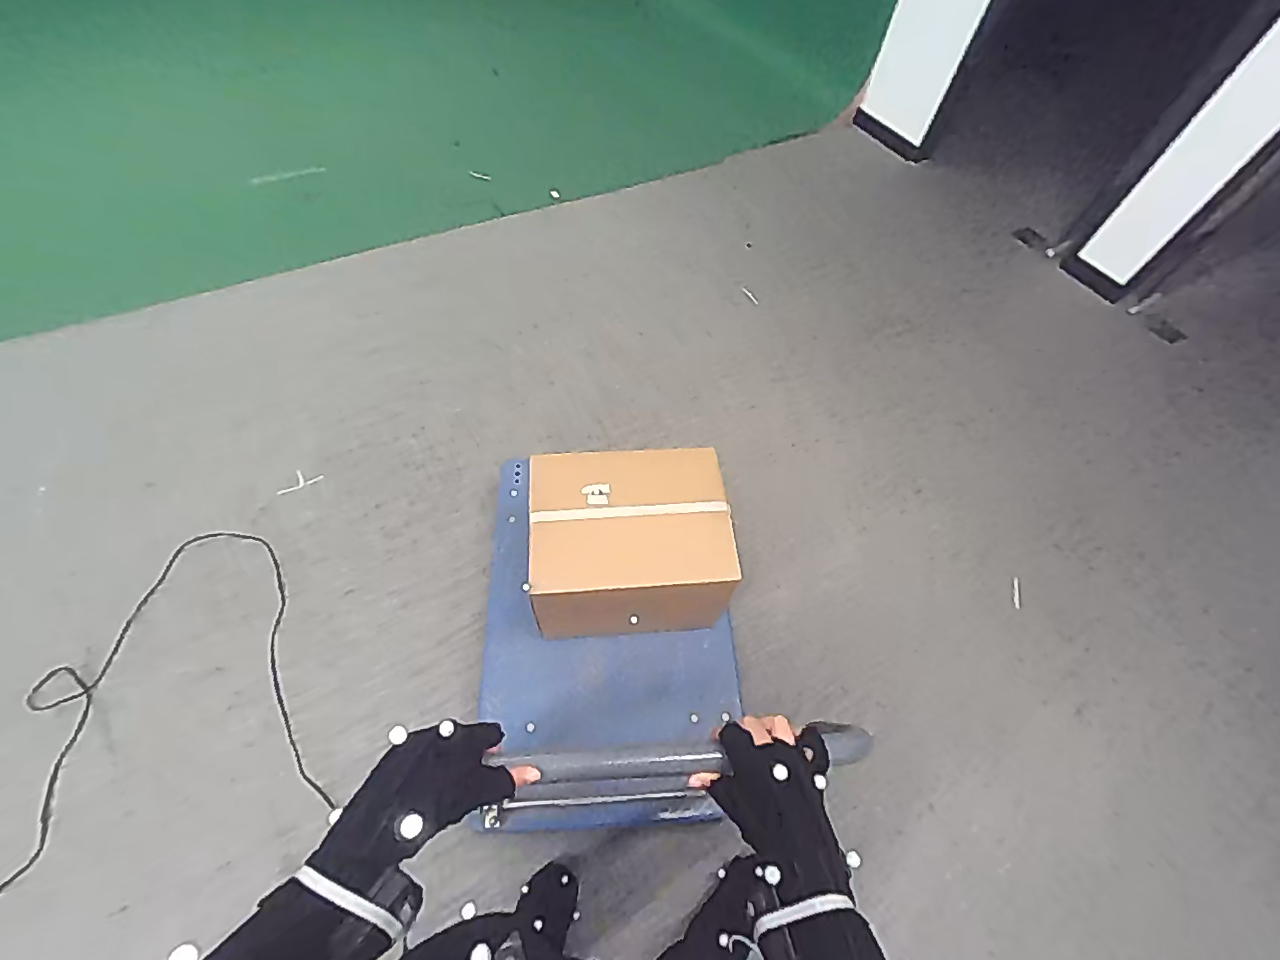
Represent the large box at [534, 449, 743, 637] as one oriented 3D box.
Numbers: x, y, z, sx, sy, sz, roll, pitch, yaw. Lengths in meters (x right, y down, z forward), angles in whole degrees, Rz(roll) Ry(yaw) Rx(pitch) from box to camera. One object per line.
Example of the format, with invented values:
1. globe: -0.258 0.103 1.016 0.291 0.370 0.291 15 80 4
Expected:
1. large box: -0.020 0.150 1.227 0.408 0.320 0.320 -3 58 -6
